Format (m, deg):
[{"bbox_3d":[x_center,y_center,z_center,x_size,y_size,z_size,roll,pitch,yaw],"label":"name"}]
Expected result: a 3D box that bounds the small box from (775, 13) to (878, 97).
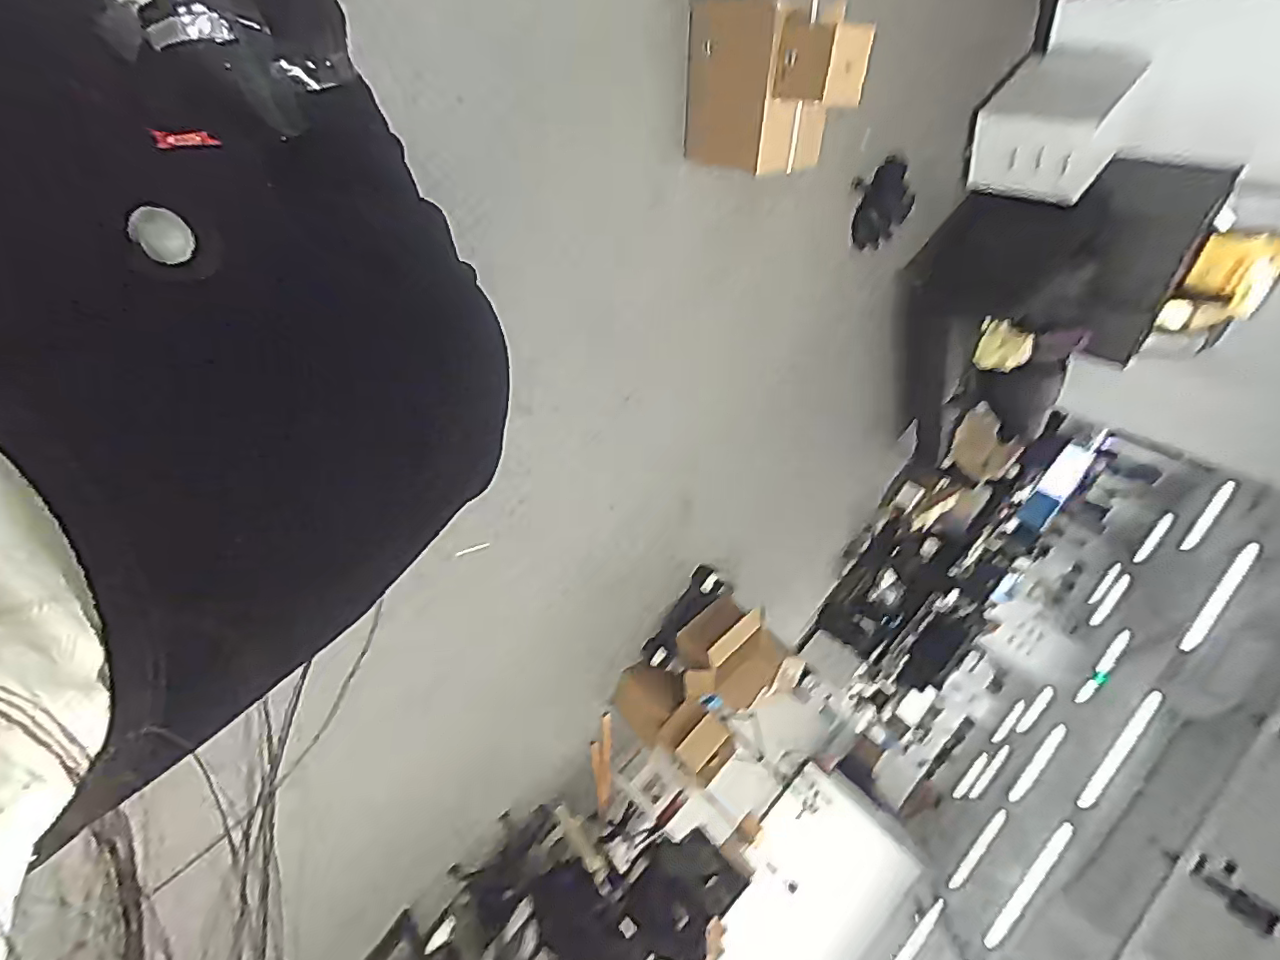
[{"bbox_3d":[0.485,-1.115,1.423,0.179,0.176,0.168,-26,135,-30],"label":"small box"}]
